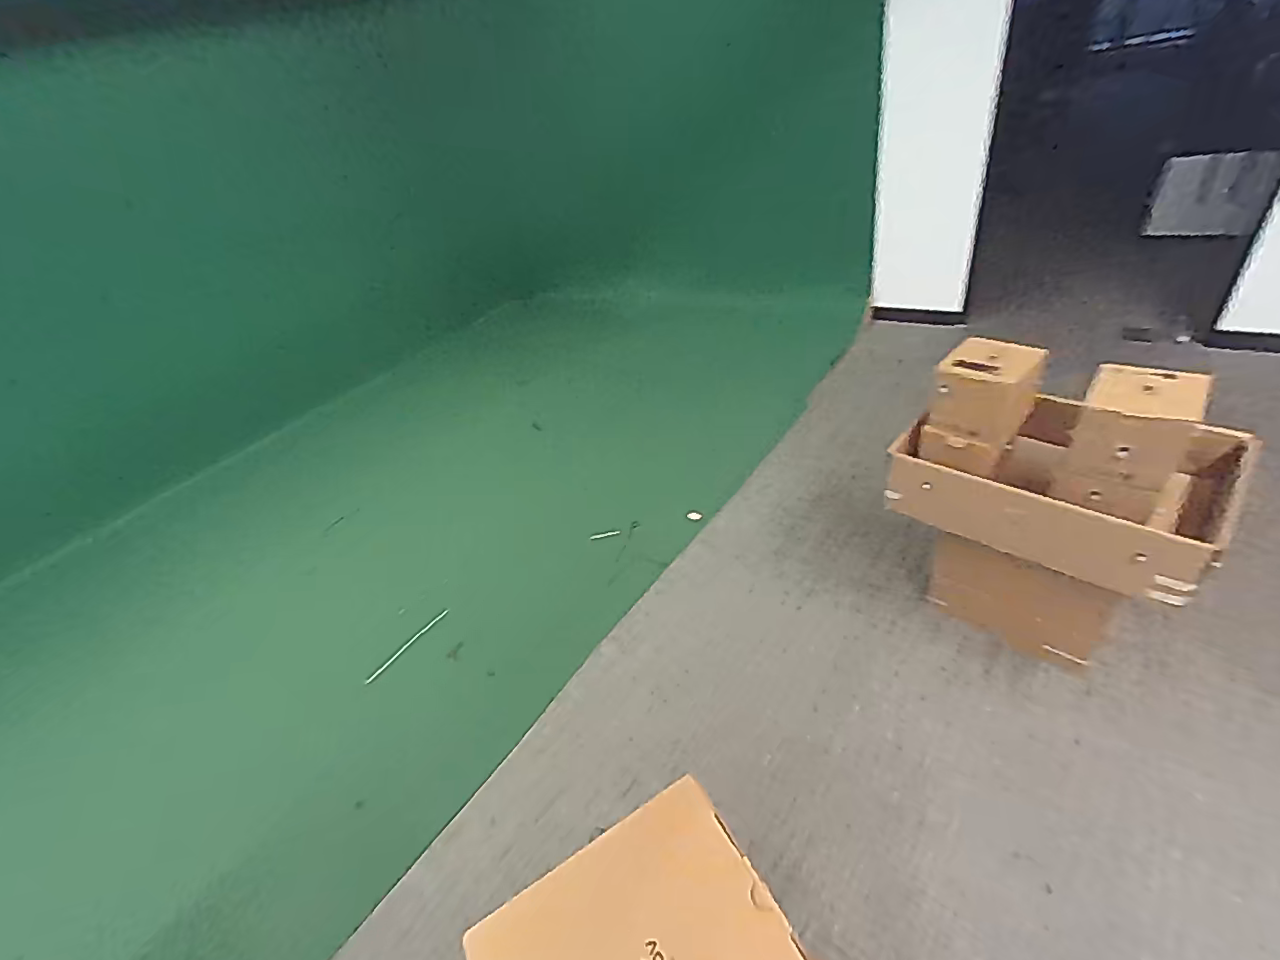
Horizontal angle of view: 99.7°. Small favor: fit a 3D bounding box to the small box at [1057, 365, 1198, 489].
[{"bbox_3d":[0.984,-0.108,1.104,0.168,0.176,0.179,22,52,38],"label":"small box"}]
